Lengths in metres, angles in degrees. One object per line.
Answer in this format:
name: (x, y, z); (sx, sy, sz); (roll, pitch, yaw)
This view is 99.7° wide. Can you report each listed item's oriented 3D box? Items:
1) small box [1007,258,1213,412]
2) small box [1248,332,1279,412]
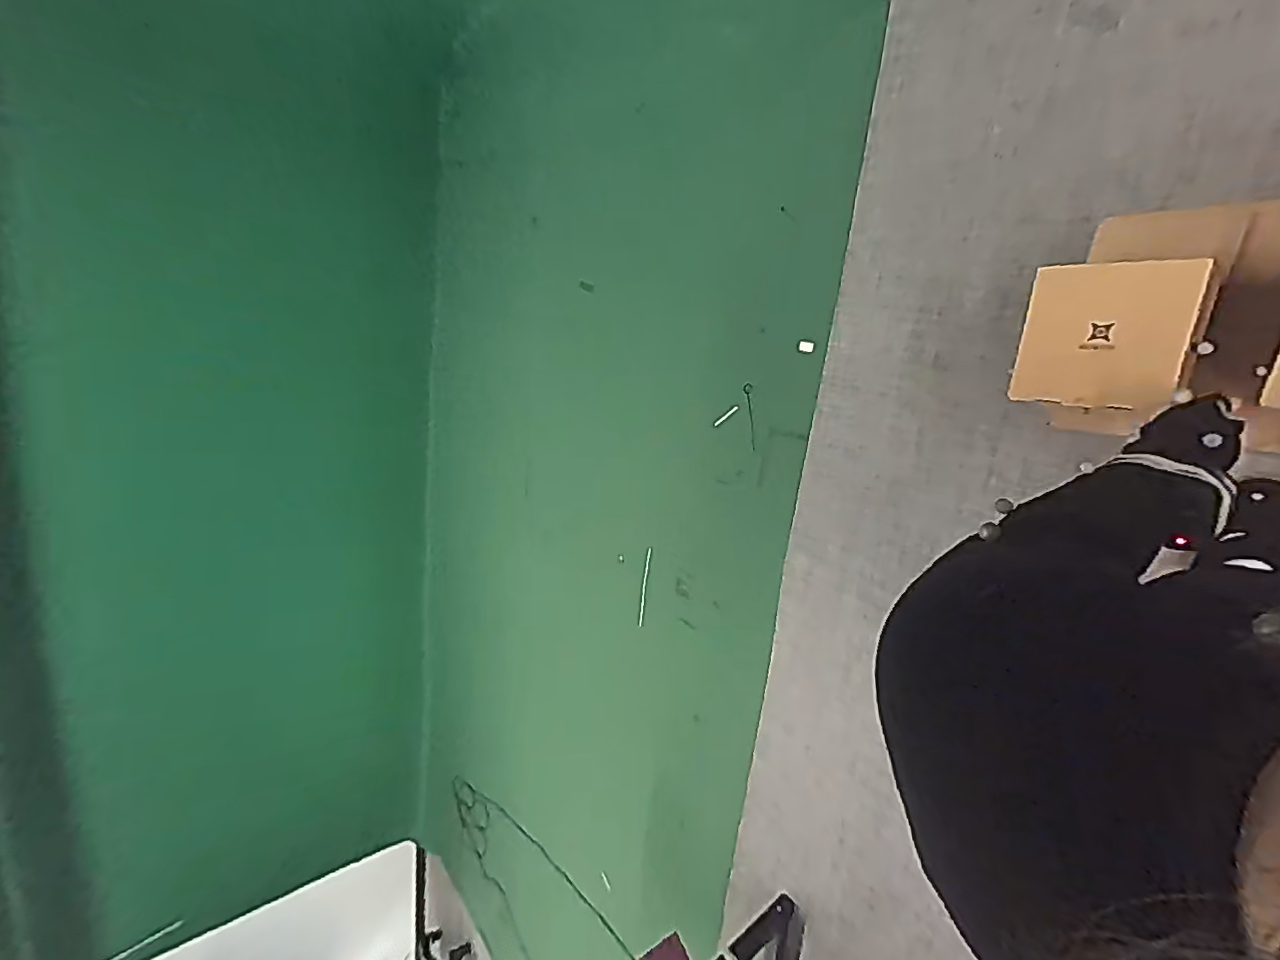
small box: (0.631, -0.189, 0.730); (0.168, 0.176, 0.179); (18, 109, 46)
small box: (0.784, -0.144, 0.554); (0.168, 0.176, 0.179); (25, 111, 46)
